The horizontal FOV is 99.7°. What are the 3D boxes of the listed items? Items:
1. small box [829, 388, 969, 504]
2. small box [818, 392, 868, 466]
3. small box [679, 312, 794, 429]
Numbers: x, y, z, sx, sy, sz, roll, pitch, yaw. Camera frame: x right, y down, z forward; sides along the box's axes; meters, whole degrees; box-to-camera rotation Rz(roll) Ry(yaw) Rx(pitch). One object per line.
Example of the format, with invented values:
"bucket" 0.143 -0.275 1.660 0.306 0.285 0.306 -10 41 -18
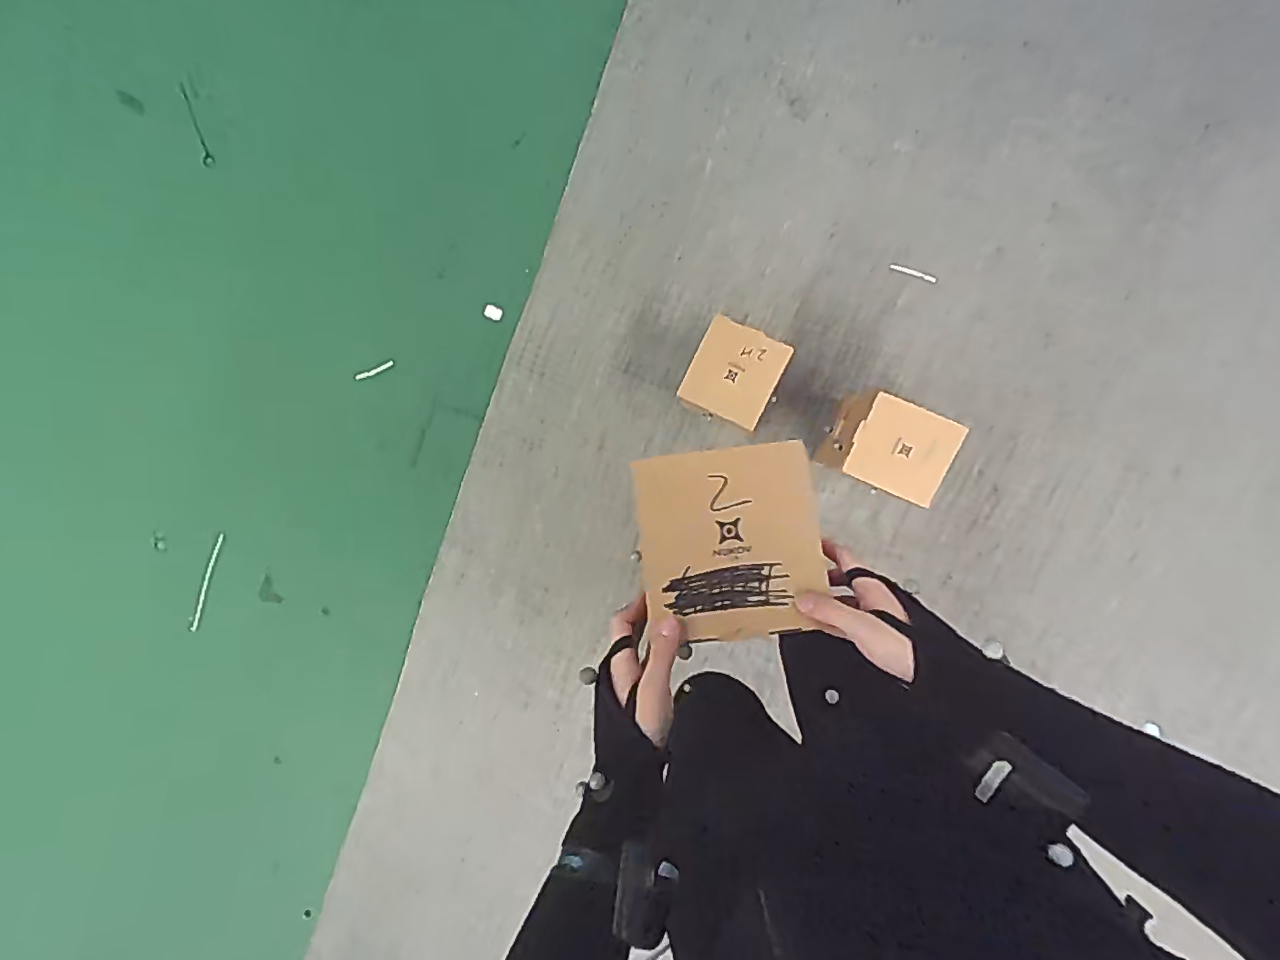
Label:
"small box" 0.501 -0.067 1.079 0.179 0.176 0.168 25 97 6
"small box" 0.529 -0.088 1.240 0.179 0.176 0.168 23 97 7
"small box" 0.196 -0.215 1.116 0.168 0.176 0.179 27 97 5
